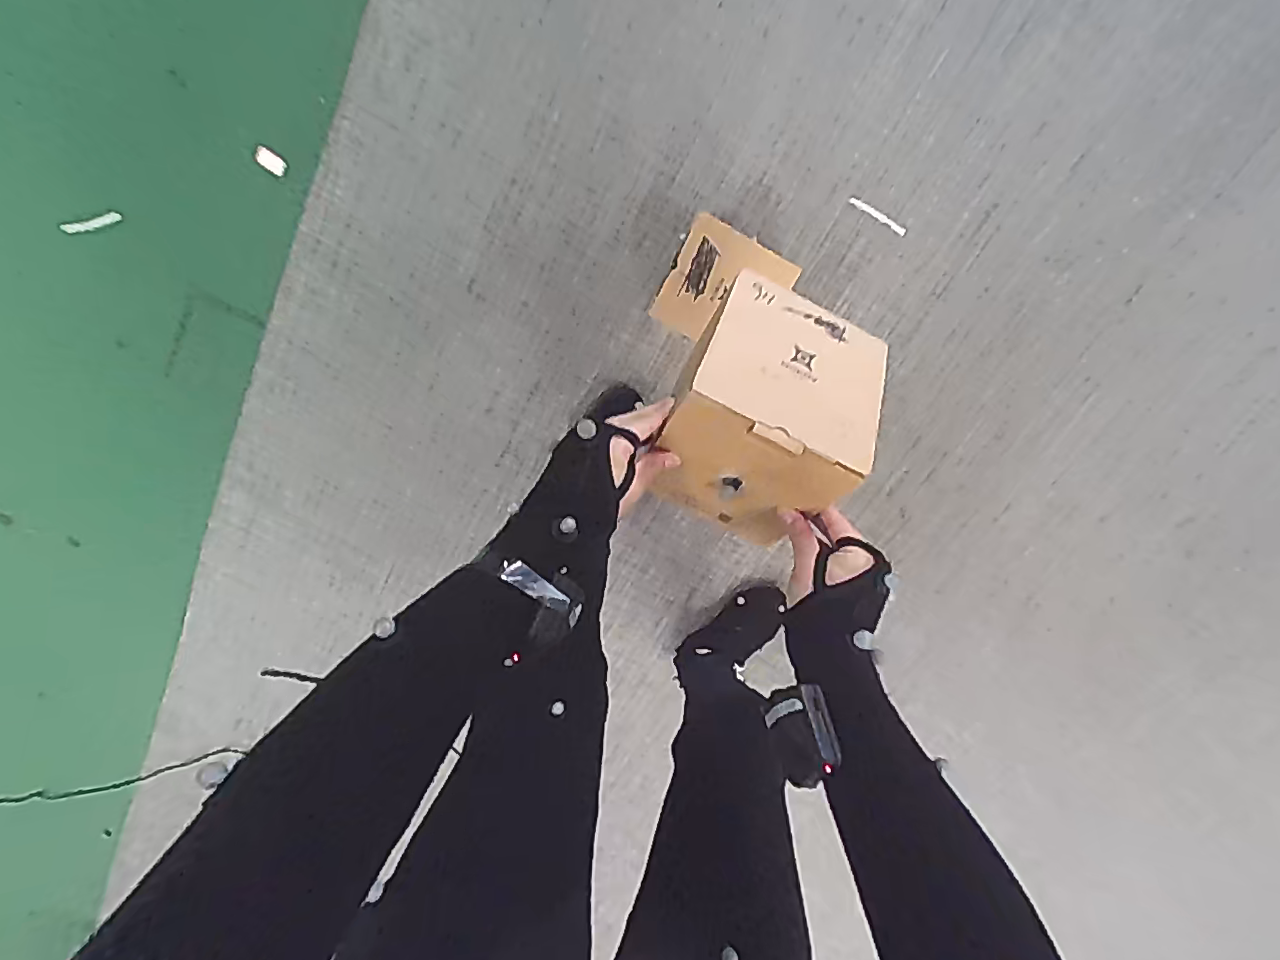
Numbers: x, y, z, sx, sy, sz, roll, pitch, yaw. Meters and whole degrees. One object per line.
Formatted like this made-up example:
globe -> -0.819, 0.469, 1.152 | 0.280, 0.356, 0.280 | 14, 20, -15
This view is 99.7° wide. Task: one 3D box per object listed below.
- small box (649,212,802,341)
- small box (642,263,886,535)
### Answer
small box -> 0.129, -0.304, 0.879 | 0.179, 0.176, 0.168 | 27, 109, -7
small box -> 0.115, -0.071, 0.546 | 0.168, 0.179, 0.176 | 27, 147, -4
